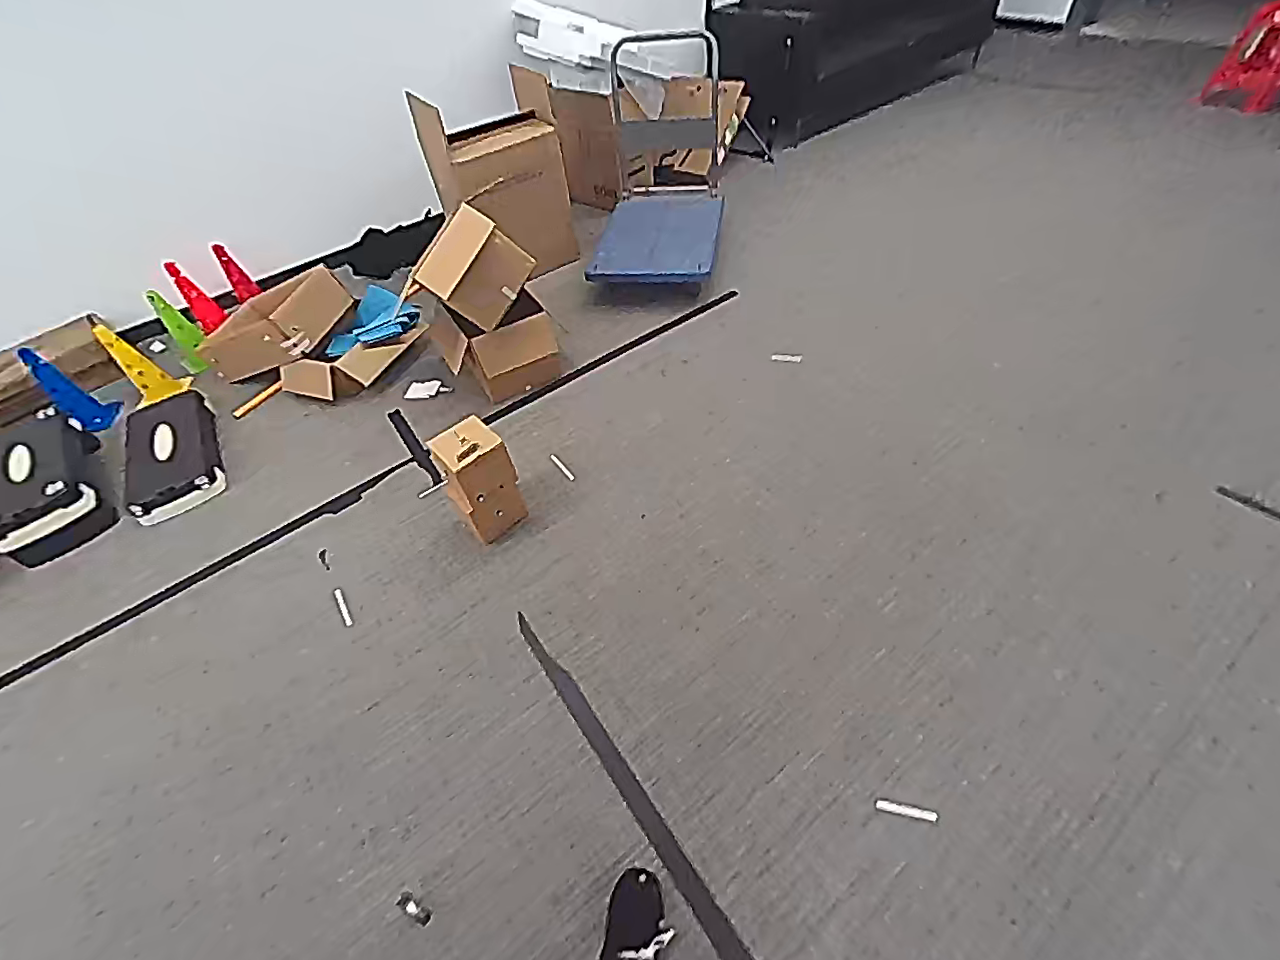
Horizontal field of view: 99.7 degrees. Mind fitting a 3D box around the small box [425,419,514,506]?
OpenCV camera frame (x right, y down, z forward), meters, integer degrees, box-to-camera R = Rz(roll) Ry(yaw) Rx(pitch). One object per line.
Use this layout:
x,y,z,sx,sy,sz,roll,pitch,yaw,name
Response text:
-0.501,-0.046,1.613,0.168,0.176,0.179,-36,53,-23,small box
